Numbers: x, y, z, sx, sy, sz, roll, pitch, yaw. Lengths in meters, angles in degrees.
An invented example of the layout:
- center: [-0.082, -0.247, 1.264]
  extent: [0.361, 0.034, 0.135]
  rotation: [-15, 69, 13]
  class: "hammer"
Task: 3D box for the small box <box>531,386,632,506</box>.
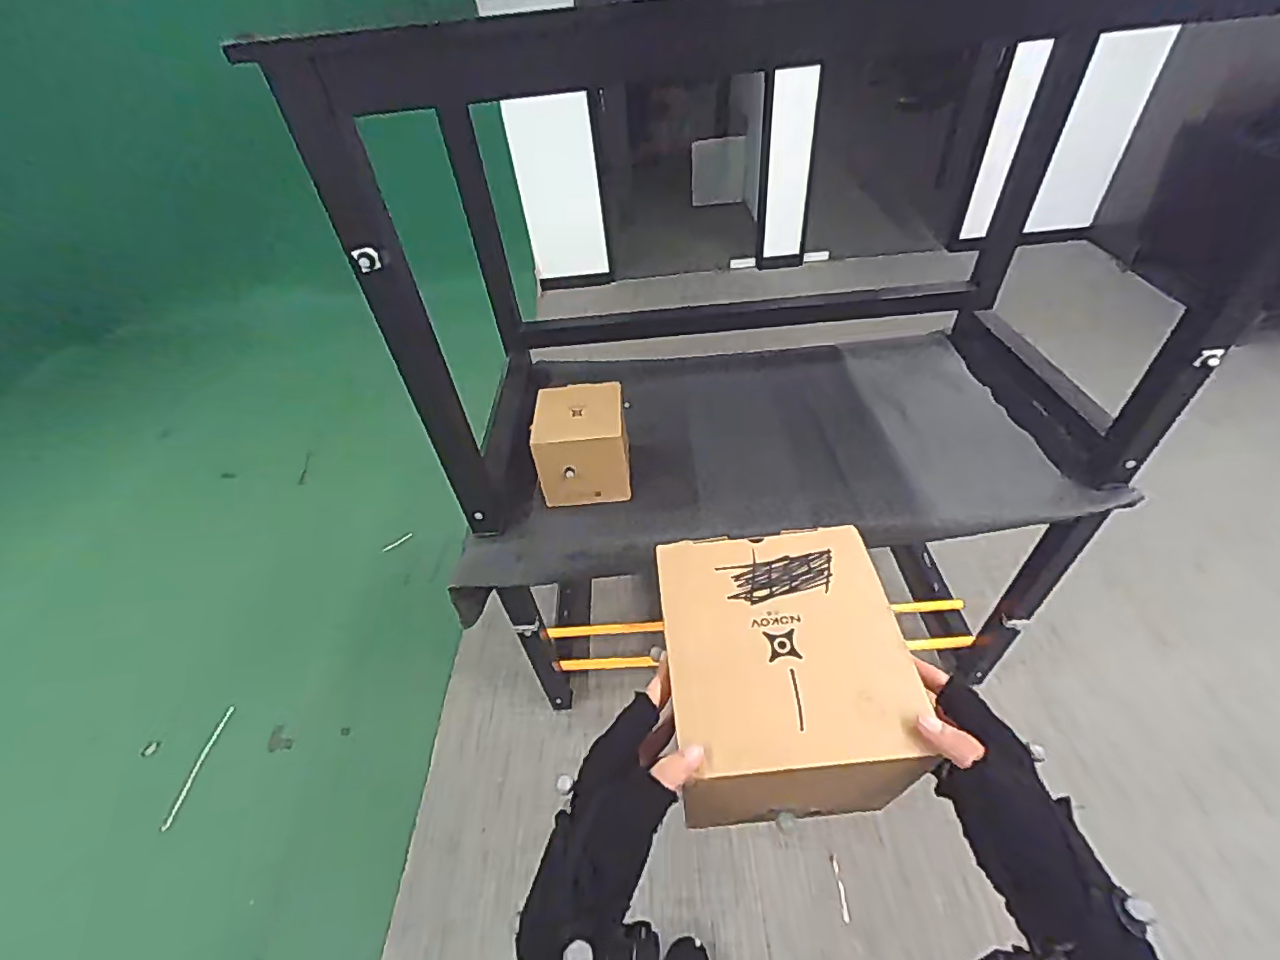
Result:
- center: [-0.107, -0.061, 1.063]
  extent: [0.168, 0.176, 0.179]
  rotation: [-5, 42, 1]
  class: "small box"
